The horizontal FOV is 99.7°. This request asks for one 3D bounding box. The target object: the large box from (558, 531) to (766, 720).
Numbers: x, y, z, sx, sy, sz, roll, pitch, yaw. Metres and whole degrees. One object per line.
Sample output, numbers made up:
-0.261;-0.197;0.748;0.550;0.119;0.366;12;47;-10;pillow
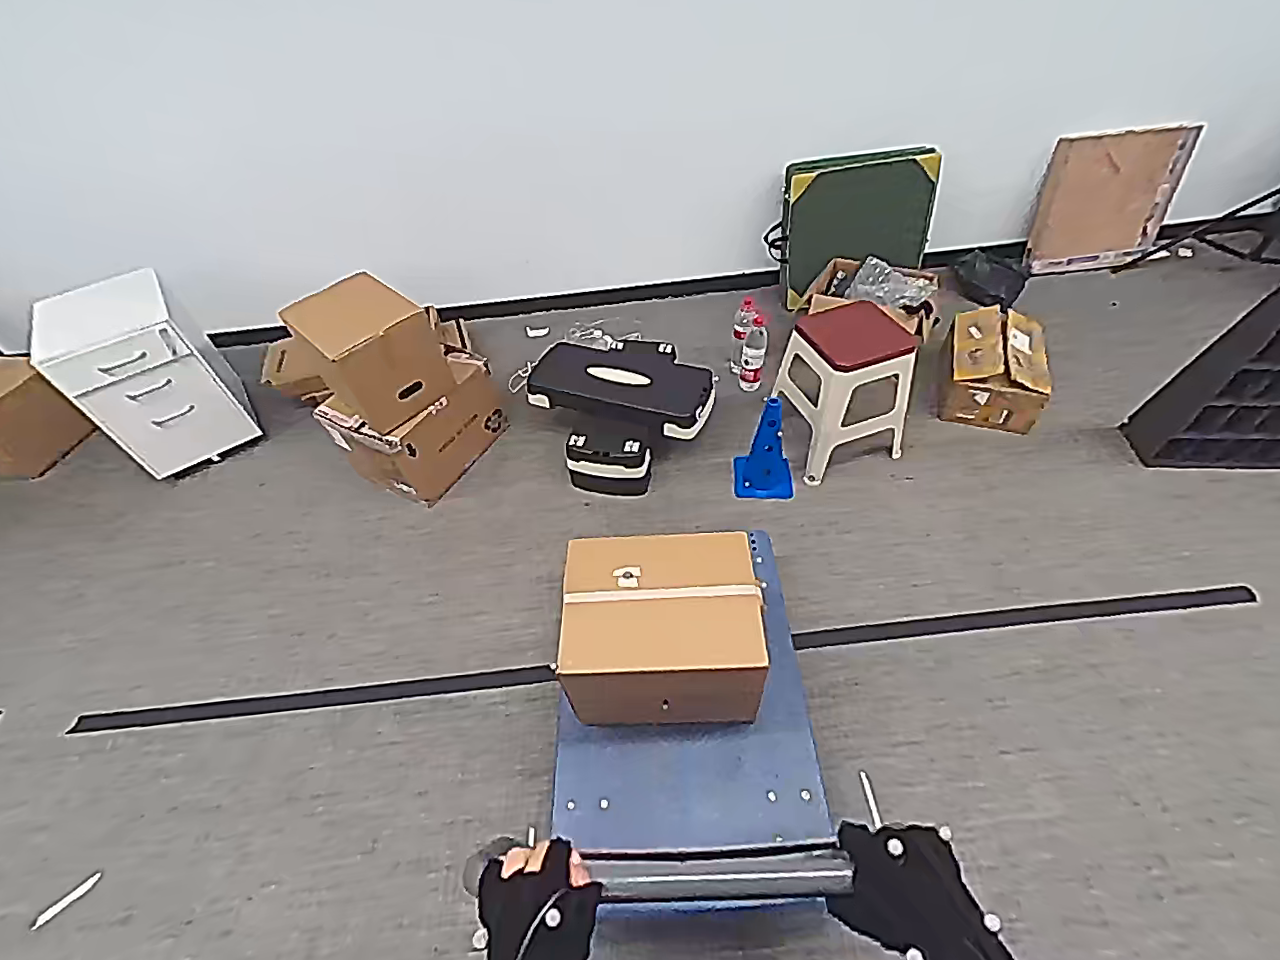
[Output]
0.051;0.339;1.235;0.408;0.320;0.320;-4;49;3;large box
